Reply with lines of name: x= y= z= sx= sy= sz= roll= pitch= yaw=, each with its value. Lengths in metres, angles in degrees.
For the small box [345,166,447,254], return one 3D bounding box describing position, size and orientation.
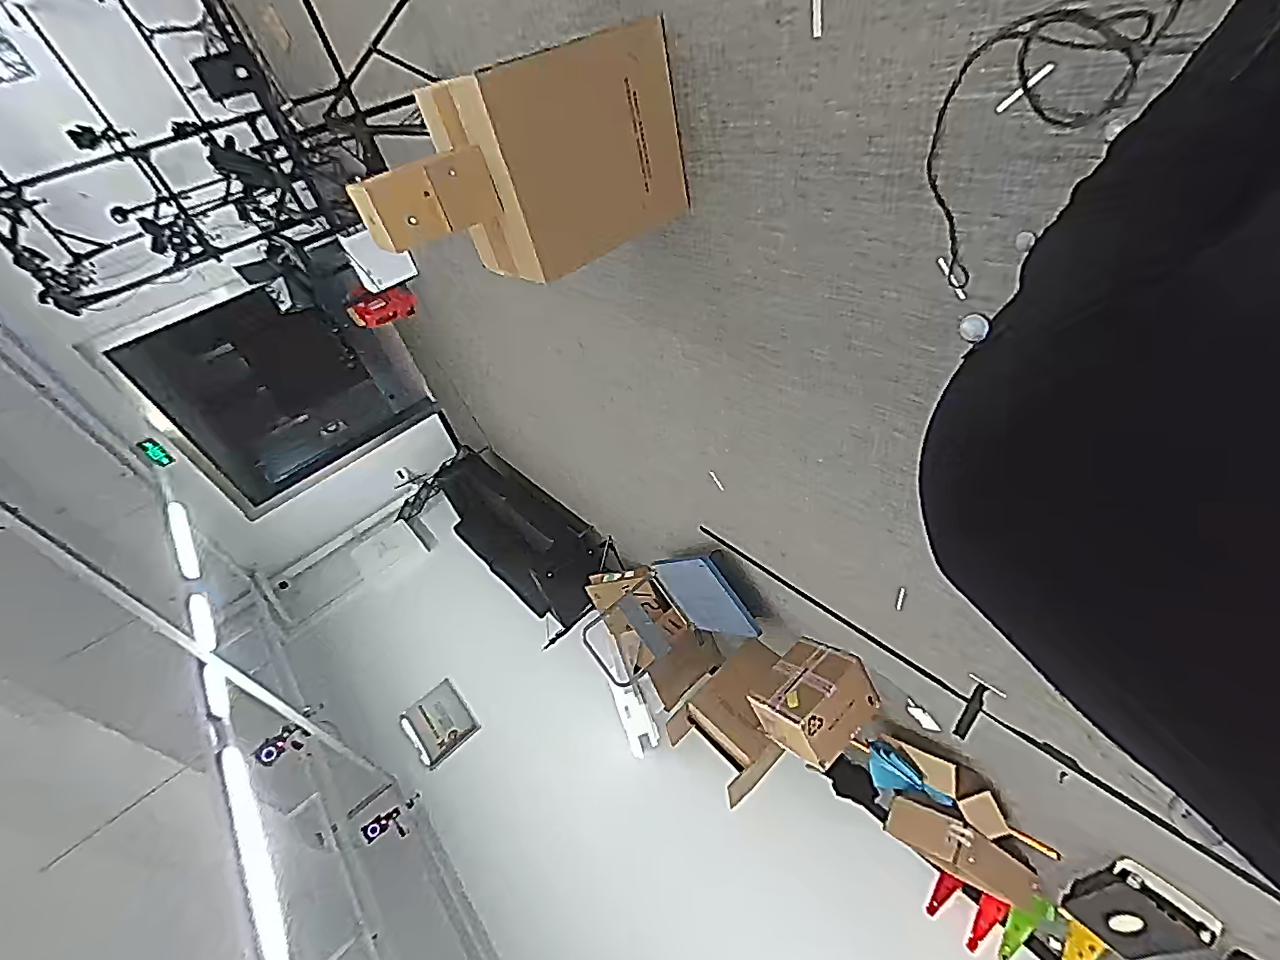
small box: x=-0.643 y=-0.723 z=1.442 sx=0.179 sy=0.176 sz=0.168 roll=31 pitch=149 yaw=43
